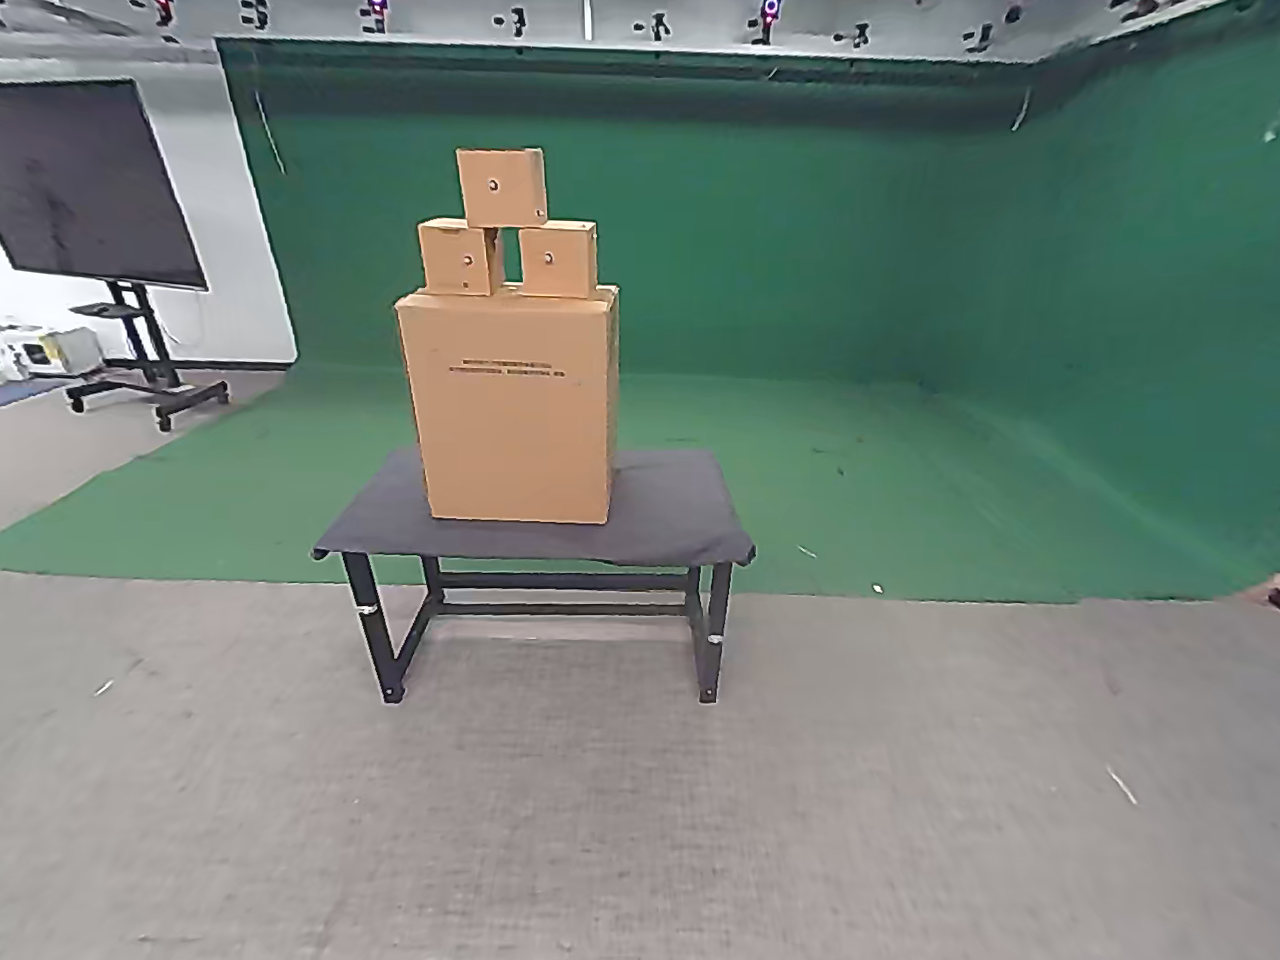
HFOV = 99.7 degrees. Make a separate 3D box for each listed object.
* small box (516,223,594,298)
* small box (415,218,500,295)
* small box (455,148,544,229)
[{"bbox_3d":[-0.219,-0.586,1.442,0.179,0.176,0.168,2,31,1],"label":"small box"},{"bbox_3d":[-0.476,-0.596,1.441,0.168,0.176,0.179,4,29,-1],"label":"small box"},{"bbox_3d":[-0.343,-0.734,1.359,0.179,0.176,0.168,1,30,0],"label":"small box"}]
